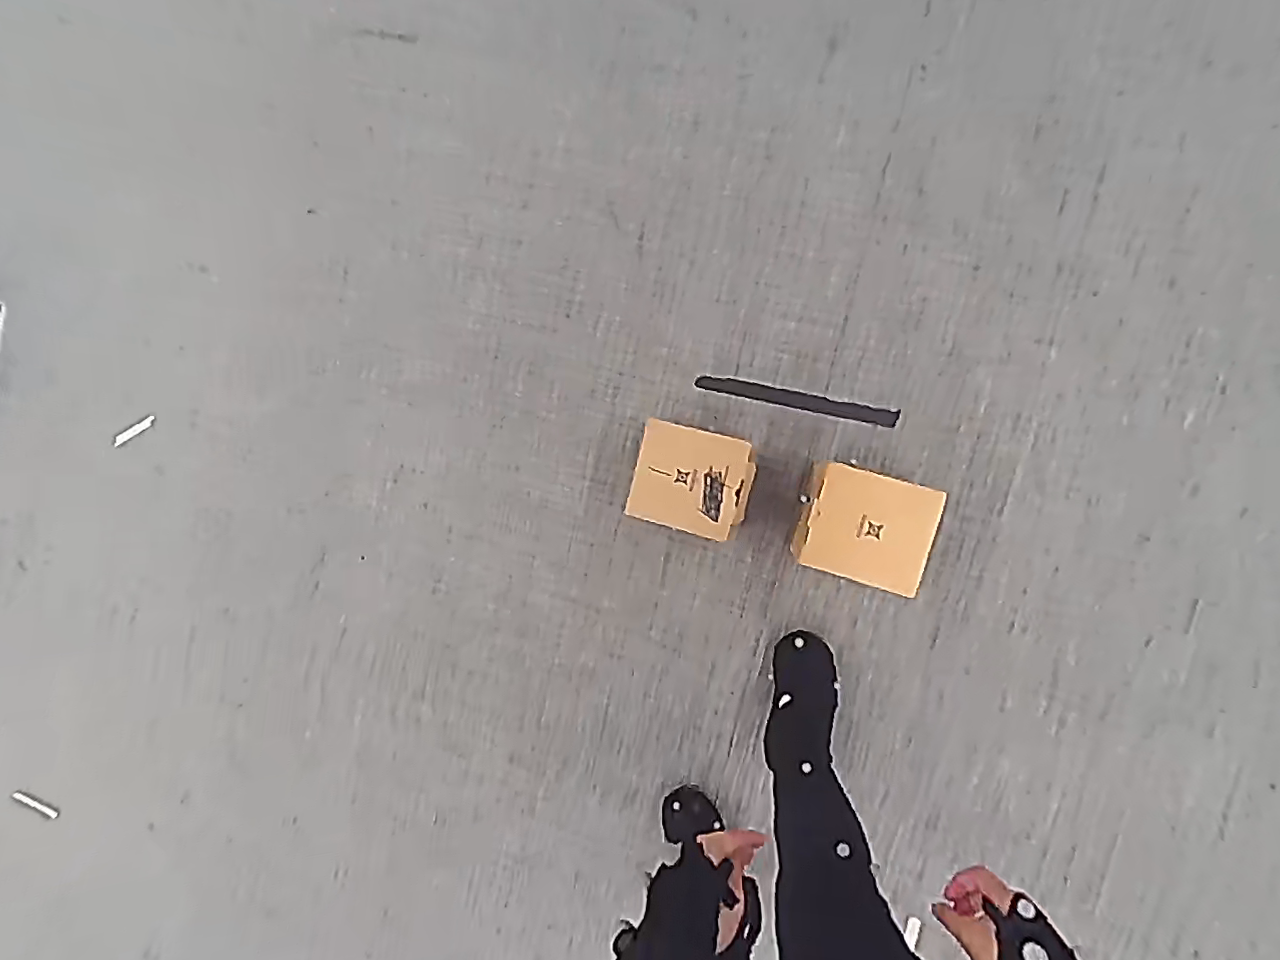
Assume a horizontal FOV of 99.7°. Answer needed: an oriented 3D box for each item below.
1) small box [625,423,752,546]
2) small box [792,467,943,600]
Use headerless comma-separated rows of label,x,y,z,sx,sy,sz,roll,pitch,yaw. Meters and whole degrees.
small box,0.094,0.004,0.953,0.179,0.176,0.168,16,94,13
small box,0.363,0.077,0.899,0.179,0.176,0.168,17,95,12
